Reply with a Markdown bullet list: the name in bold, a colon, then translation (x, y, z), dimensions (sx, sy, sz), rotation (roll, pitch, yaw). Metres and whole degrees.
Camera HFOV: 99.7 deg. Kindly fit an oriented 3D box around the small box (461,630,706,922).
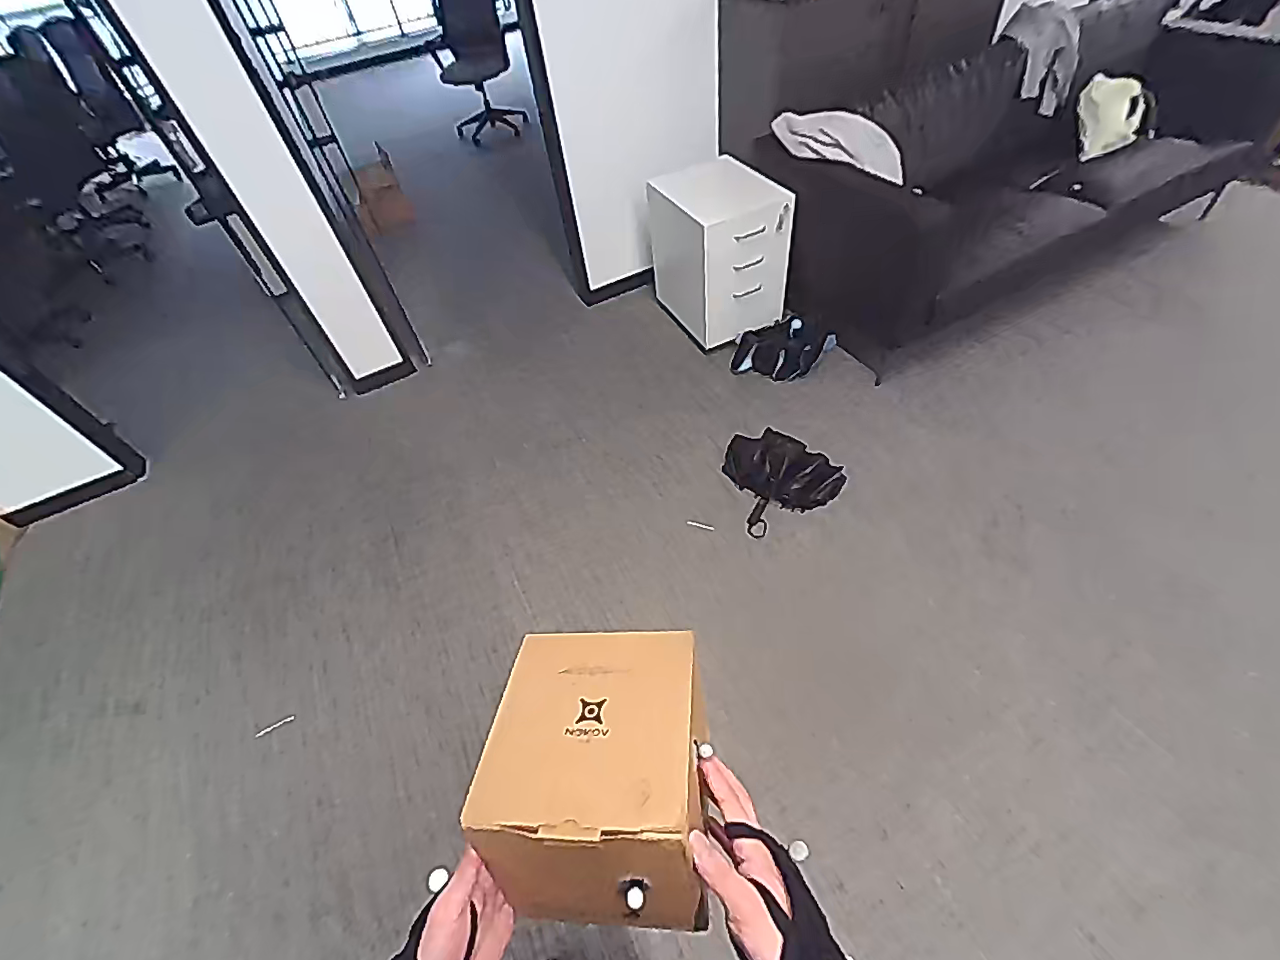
- **small box**: translation (-0.029, 0.259, 0.485), dimensions (0.168, 0.176, 0.179), rotation (-3, 32, 9)
